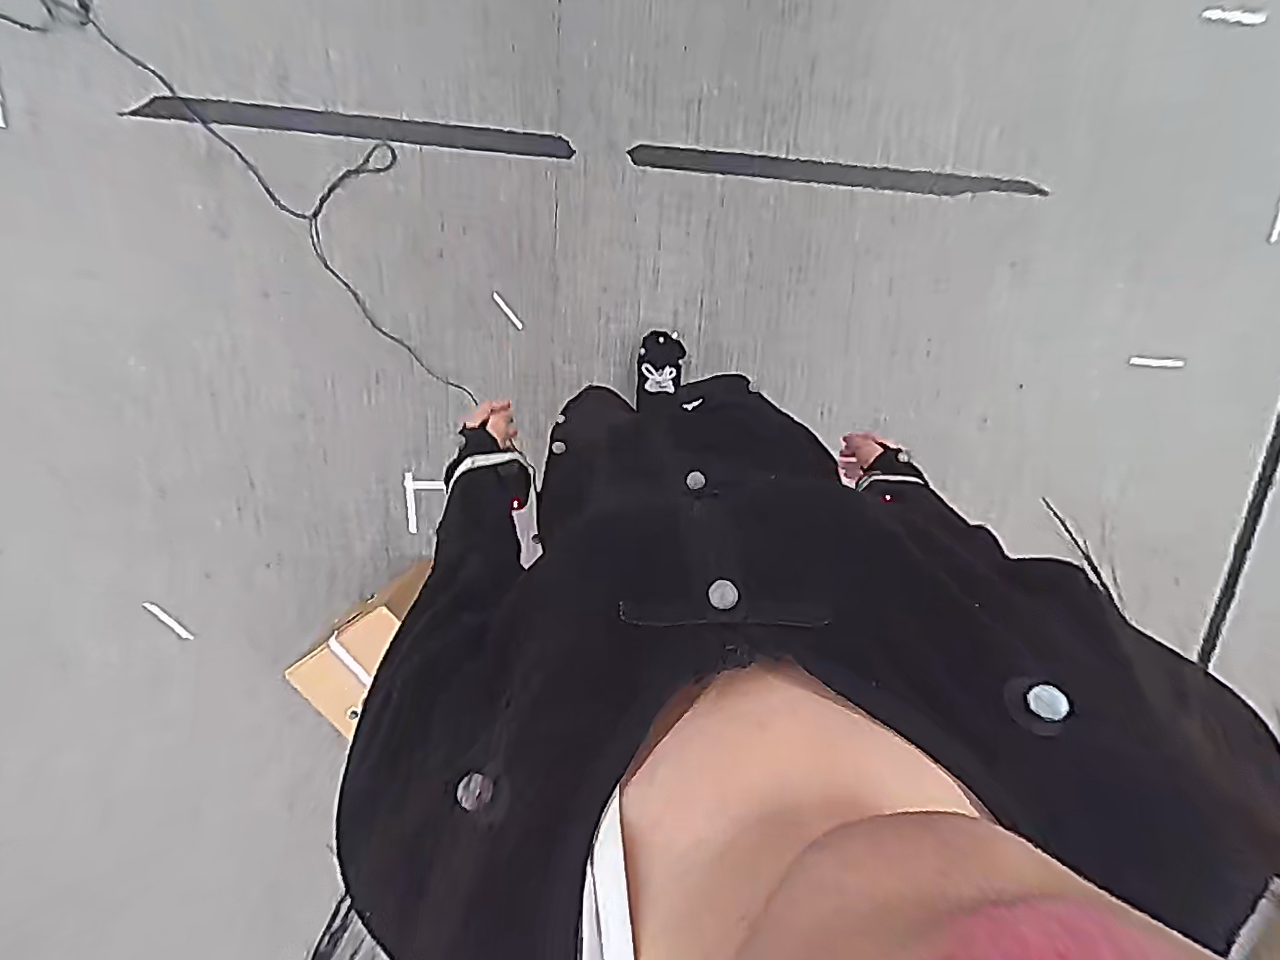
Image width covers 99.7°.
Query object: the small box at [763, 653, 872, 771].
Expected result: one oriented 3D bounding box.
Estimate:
[{"bbox_3d":[0.437,0.574,1.357,0.168,0.176,0.179,-38,102,6],"label":"small box"}]
